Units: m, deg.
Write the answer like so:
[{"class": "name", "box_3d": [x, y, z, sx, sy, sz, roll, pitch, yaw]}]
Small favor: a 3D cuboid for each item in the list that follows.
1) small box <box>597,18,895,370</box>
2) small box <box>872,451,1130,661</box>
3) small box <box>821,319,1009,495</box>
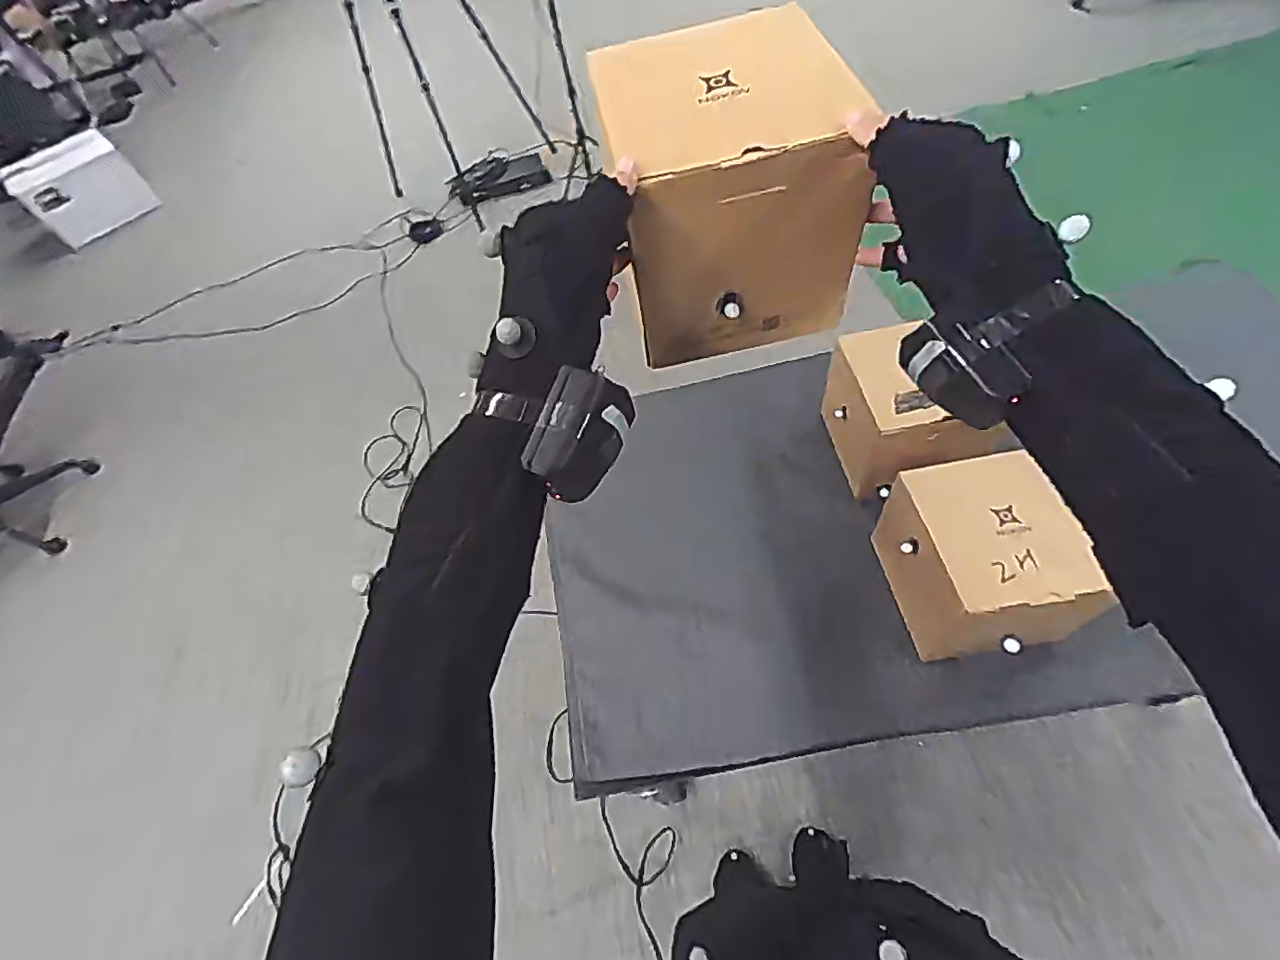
[{"class": "small box", "box_3d": [0.068, -0.218, 0.433, 0.168, 0.176, 0.179, -12, 60, 1]}, {"class": "small box", "box_3d": [0.396, 0.095, 0.638, 0.168, 0.176, 0.179, -11, 56, 3]}, {"class": "small box", "box_3d": [0.369, -0.093, 0.766, 0.168, 0.176, 0.179, -11, 56, 3]}]
